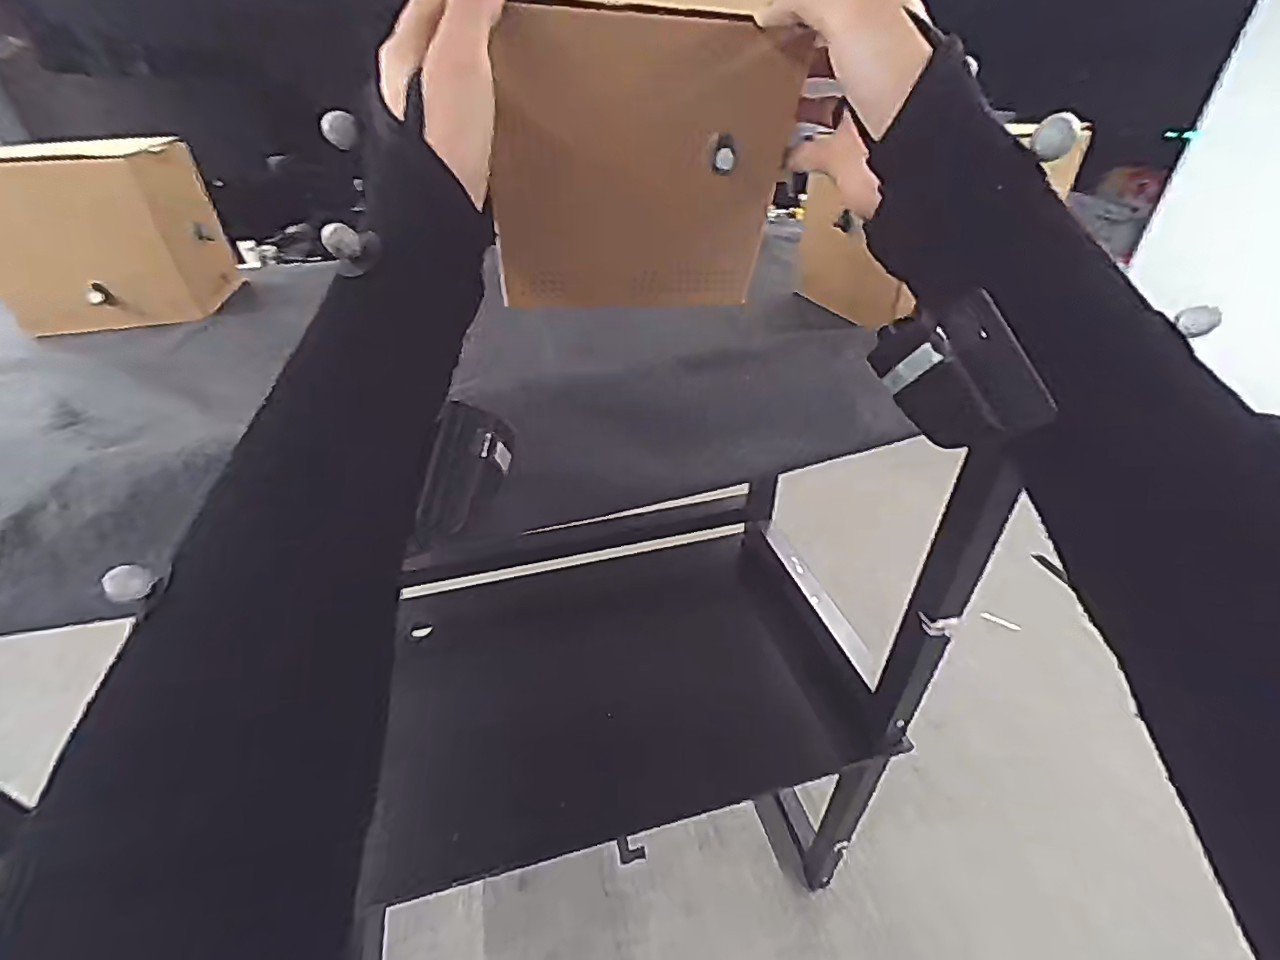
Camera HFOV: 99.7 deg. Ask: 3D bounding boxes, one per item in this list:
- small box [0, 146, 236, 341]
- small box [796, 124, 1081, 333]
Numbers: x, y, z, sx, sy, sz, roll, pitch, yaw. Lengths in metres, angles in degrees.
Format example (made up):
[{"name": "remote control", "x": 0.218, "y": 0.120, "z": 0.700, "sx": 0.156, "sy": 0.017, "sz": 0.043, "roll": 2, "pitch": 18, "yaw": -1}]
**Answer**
[{"name": "small box", "x": -0.607, "y": -0.272, "z": 0.615, "sx": 0.179, "sy": 0.176, "sz": 0.168, "roll": -11, "pitch": 37, "yaw": -14}, {"name": "small box", "x": 0.283, "y": -0.259, "z": 0.560, "sx": 0.168, "sy": 0.176, "sz": 0.179, "roll": -12, "pitch": 36, "yaw": -14}]
